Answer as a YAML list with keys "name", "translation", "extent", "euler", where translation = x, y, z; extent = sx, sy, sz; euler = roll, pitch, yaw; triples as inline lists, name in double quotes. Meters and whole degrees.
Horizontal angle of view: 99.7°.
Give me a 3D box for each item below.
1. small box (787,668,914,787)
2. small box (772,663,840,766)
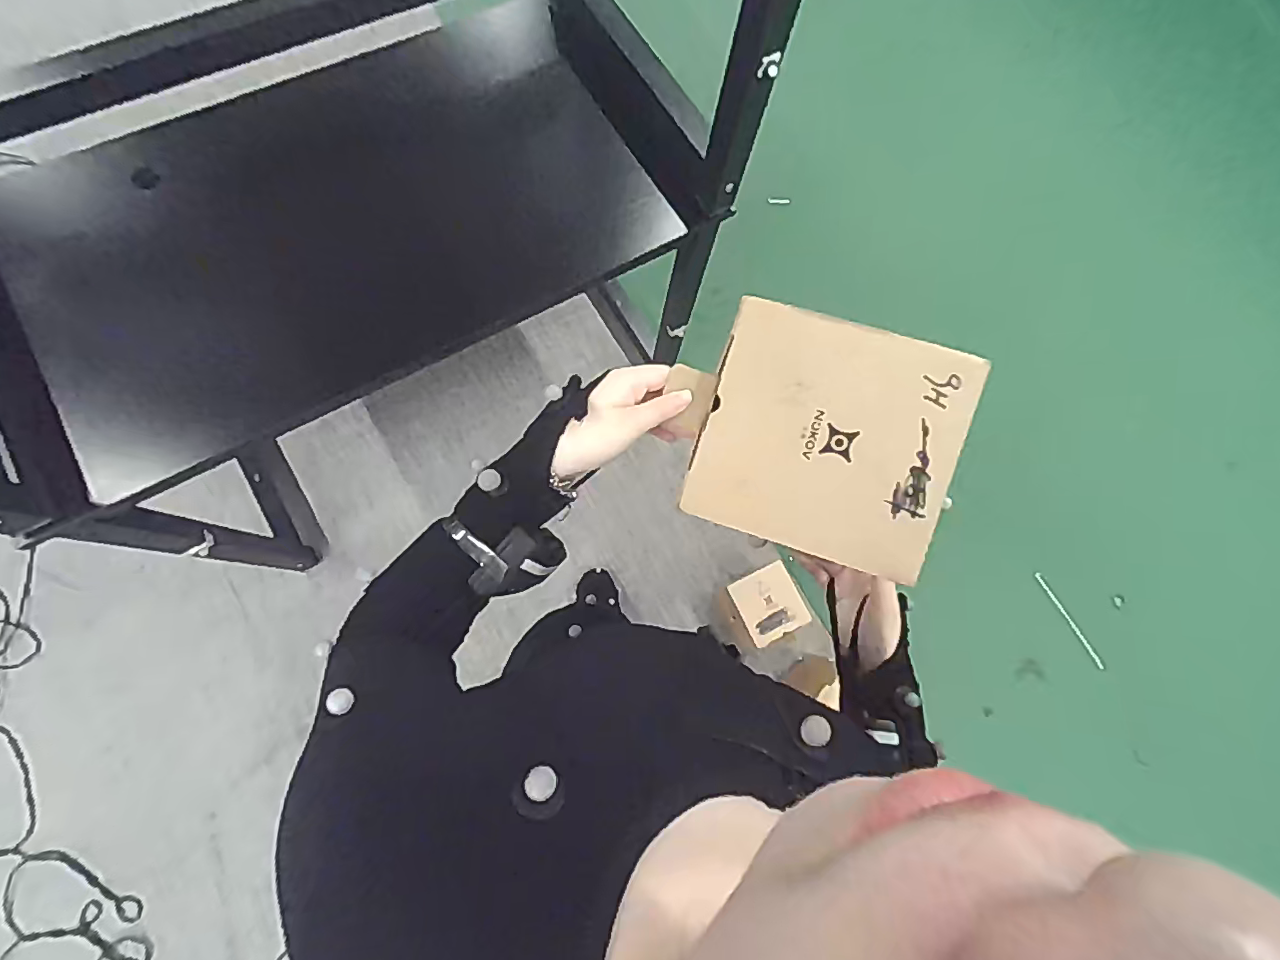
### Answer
- name: "small box"
  translation: [0.465, 0.547, 1.226]
  extent: [0.179, 0.176, 0.168]
  euler: [40, 78, 5]
- name: "small box"
  translation: [0.467, 0.587, 1.384]
  extent: [0.168, 0.176, 0.179]
  euler: [-36, 82, -11]
